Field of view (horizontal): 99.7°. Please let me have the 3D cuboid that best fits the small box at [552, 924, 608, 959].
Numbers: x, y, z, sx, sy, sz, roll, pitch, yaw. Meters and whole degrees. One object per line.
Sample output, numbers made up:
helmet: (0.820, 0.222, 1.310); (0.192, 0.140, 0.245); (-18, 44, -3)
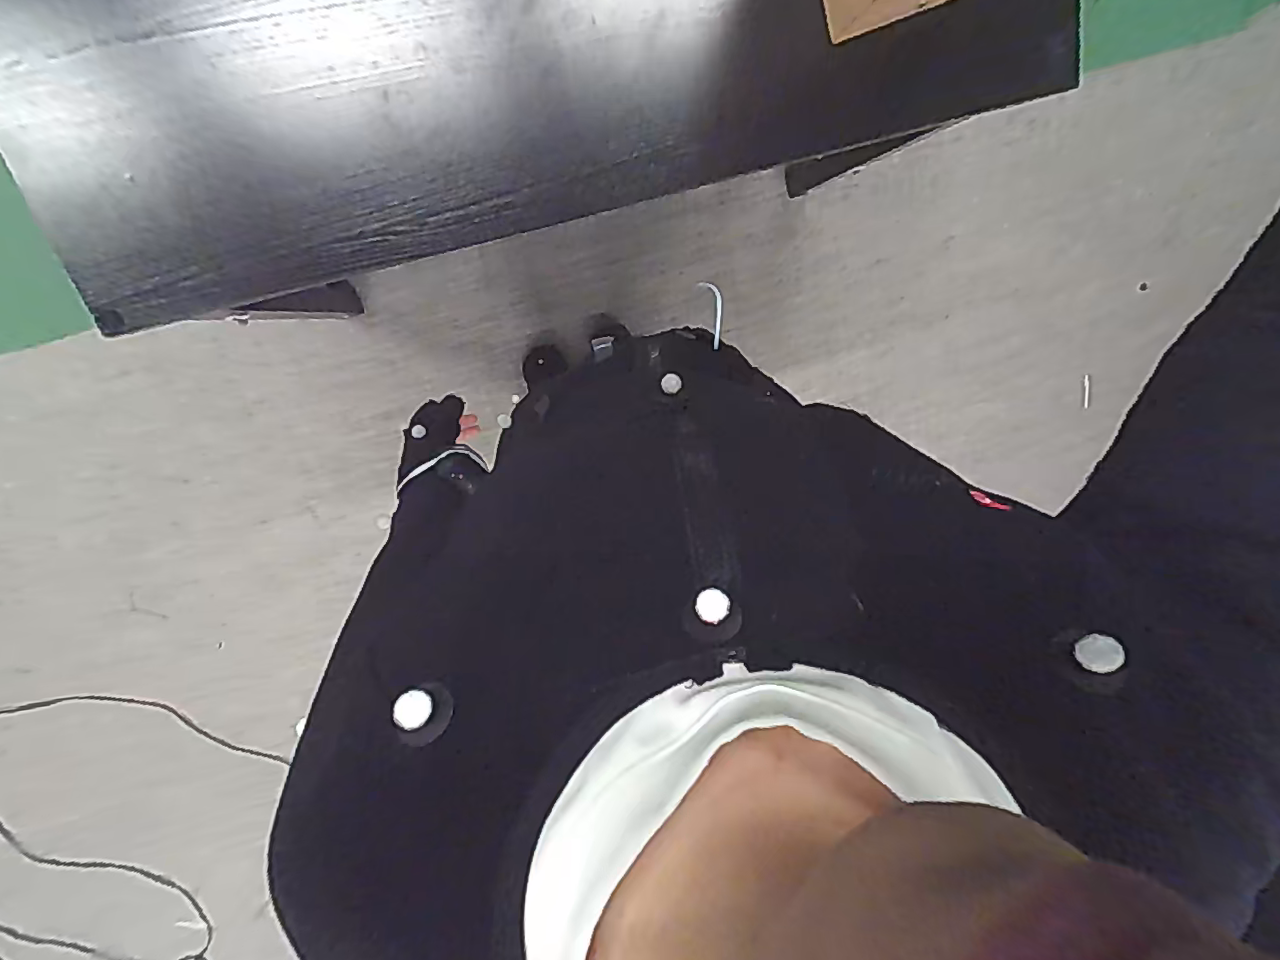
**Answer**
small box: (-0.204, 1.716, 1.898); (0.179, 0.176, 0.168); (-15, 108, -6)
